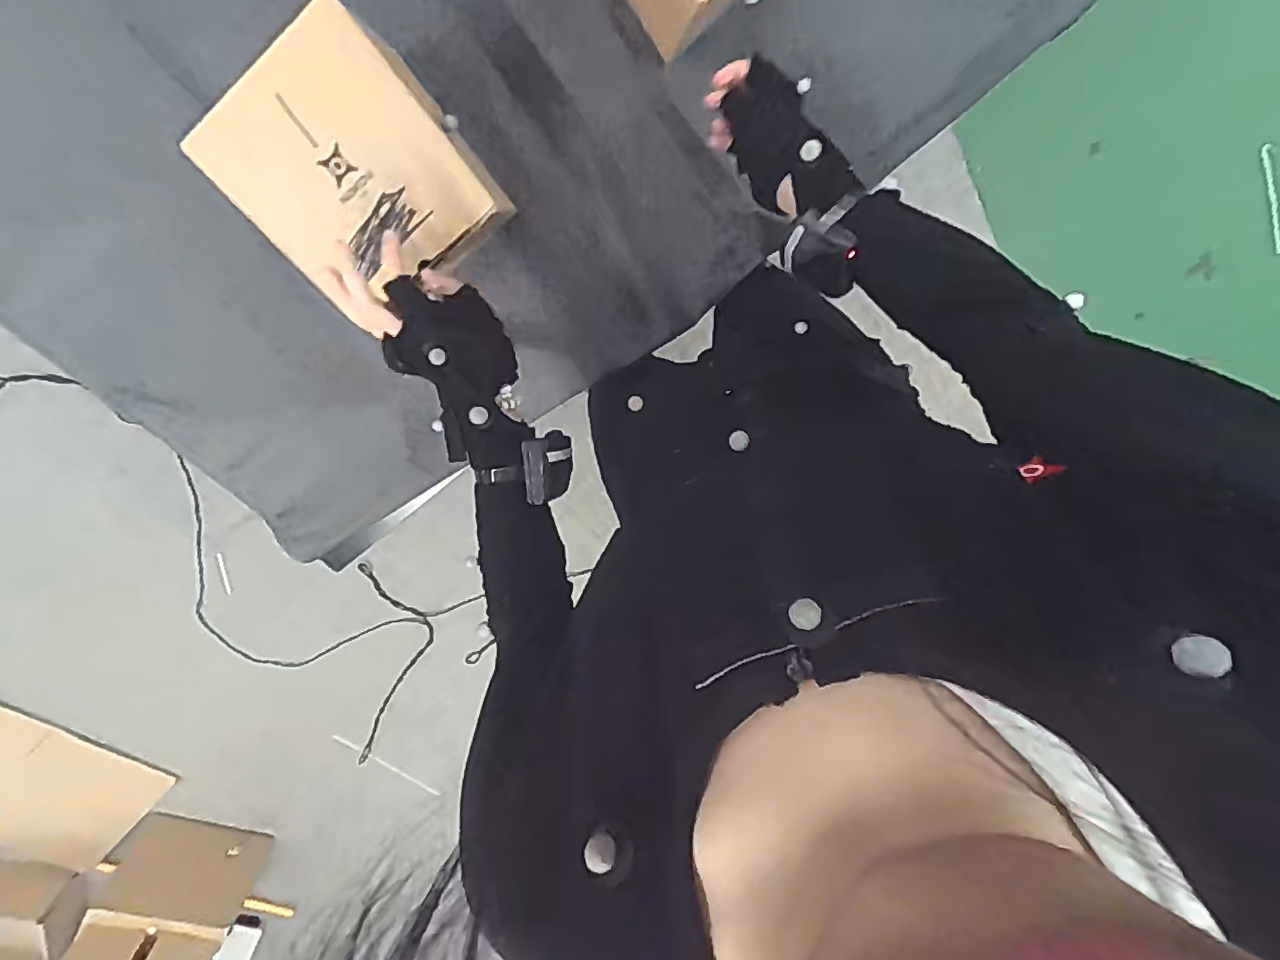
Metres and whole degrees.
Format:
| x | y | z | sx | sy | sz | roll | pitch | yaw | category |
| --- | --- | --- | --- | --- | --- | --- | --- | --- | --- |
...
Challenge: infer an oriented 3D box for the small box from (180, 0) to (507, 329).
| x | y | z | sx | sy | sz | roll | pitch | yaw | category |
| --- | --- | --- | --- | --- | --- | --- | --- | --- | --- |
| -0.245 | -0.273 | 0.503 | 0.168 | 0.176 | 0.179 | -36 | 113 | 10 | small box |

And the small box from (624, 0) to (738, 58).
| x | y | z | sx | sy | sz | roll | pitch | yaw | category |
| --- | --- | --- | --- | --- | --- | --- | --- | --- | --- |
| 0.042 | -0.494 | 0.431 | 0.168 | 0.176 | 0.179 | -37 | 113 | 12 | small box |
